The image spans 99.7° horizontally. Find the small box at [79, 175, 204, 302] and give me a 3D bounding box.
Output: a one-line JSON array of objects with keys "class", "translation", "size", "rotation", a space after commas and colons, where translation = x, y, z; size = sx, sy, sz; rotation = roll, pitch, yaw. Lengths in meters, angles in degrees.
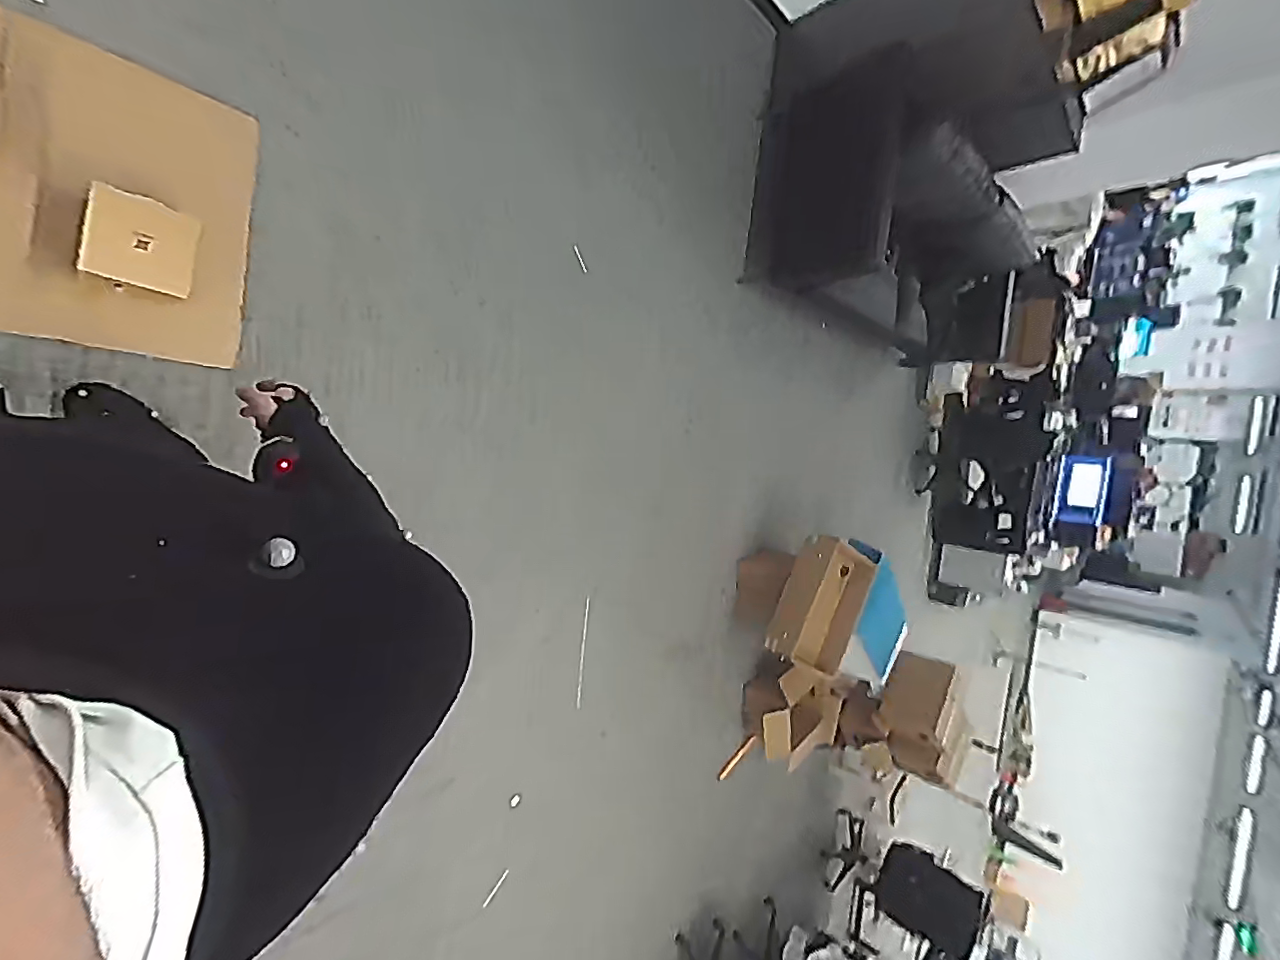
[{"class": "small box", "translation": [-1.032, -0.486, 1.123], "size": [0.168, 0.176, 0.179], "rotation": [10, 89, -45]}]
